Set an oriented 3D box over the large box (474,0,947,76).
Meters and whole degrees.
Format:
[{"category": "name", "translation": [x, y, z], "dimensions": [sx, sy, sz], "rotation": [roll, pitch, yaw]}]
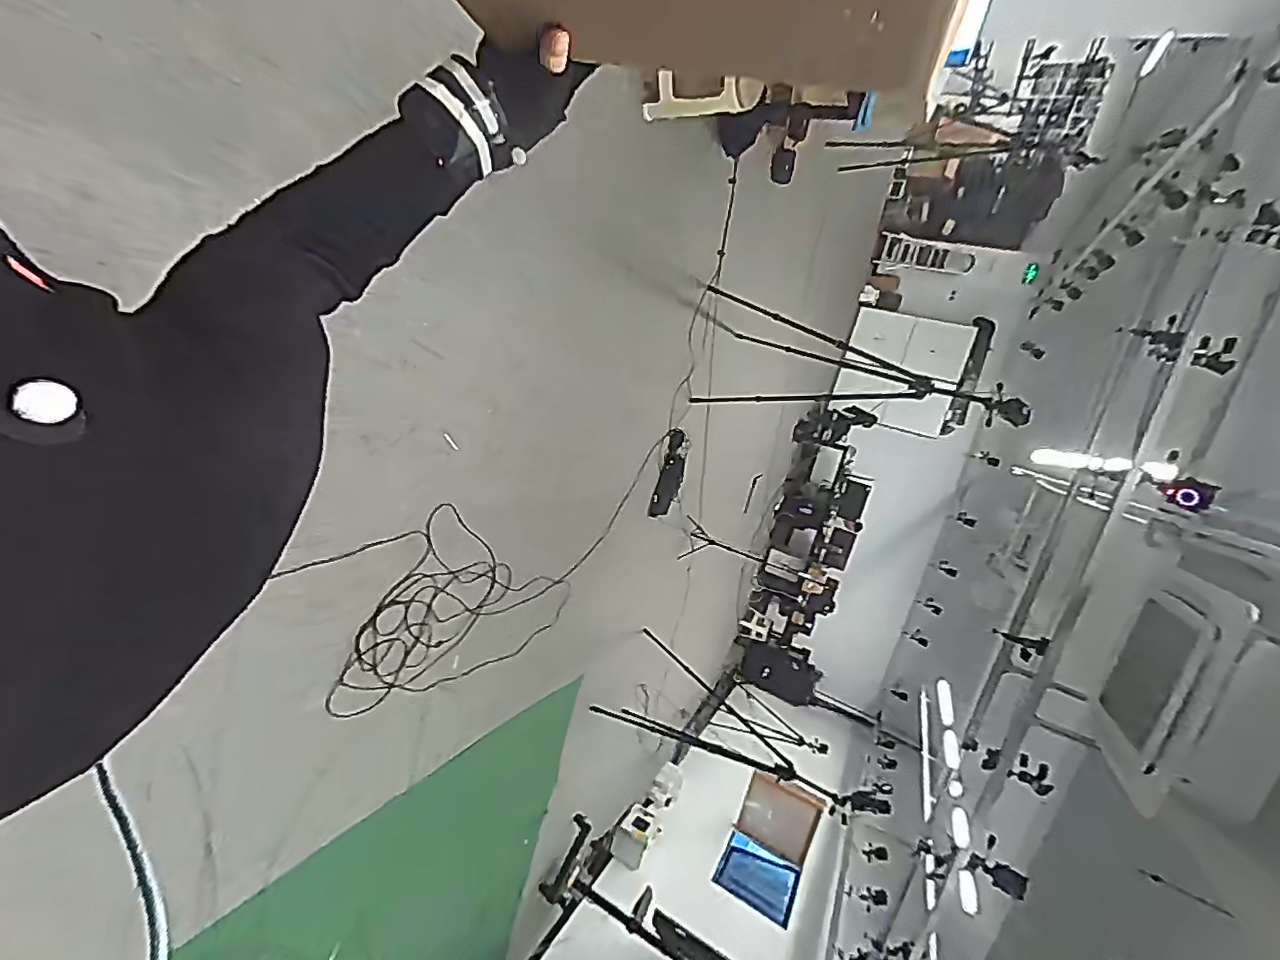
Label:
[{"category": "large box", "translation": [0.008, -0.409, 0.160], "dimensions": [0.408, 0.320, 0.320], "rotation": [-25, 131, -71]}]
